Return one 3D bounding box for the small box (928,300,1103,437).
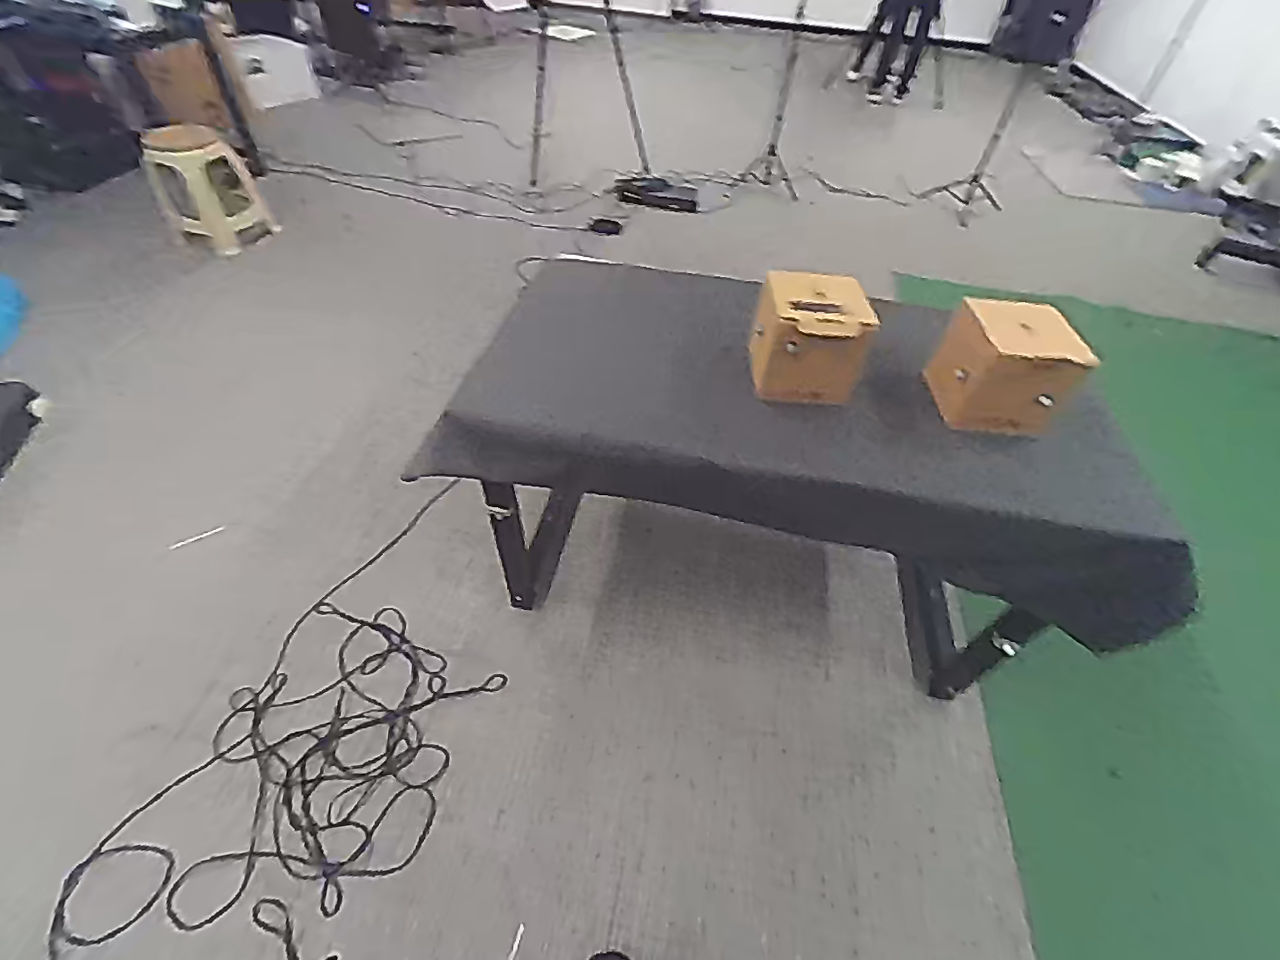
[{"bbox_3d":[0.651,-0.196,0.965,0.168,0.176,0.179,6,47,0],"label":"small box"}]
